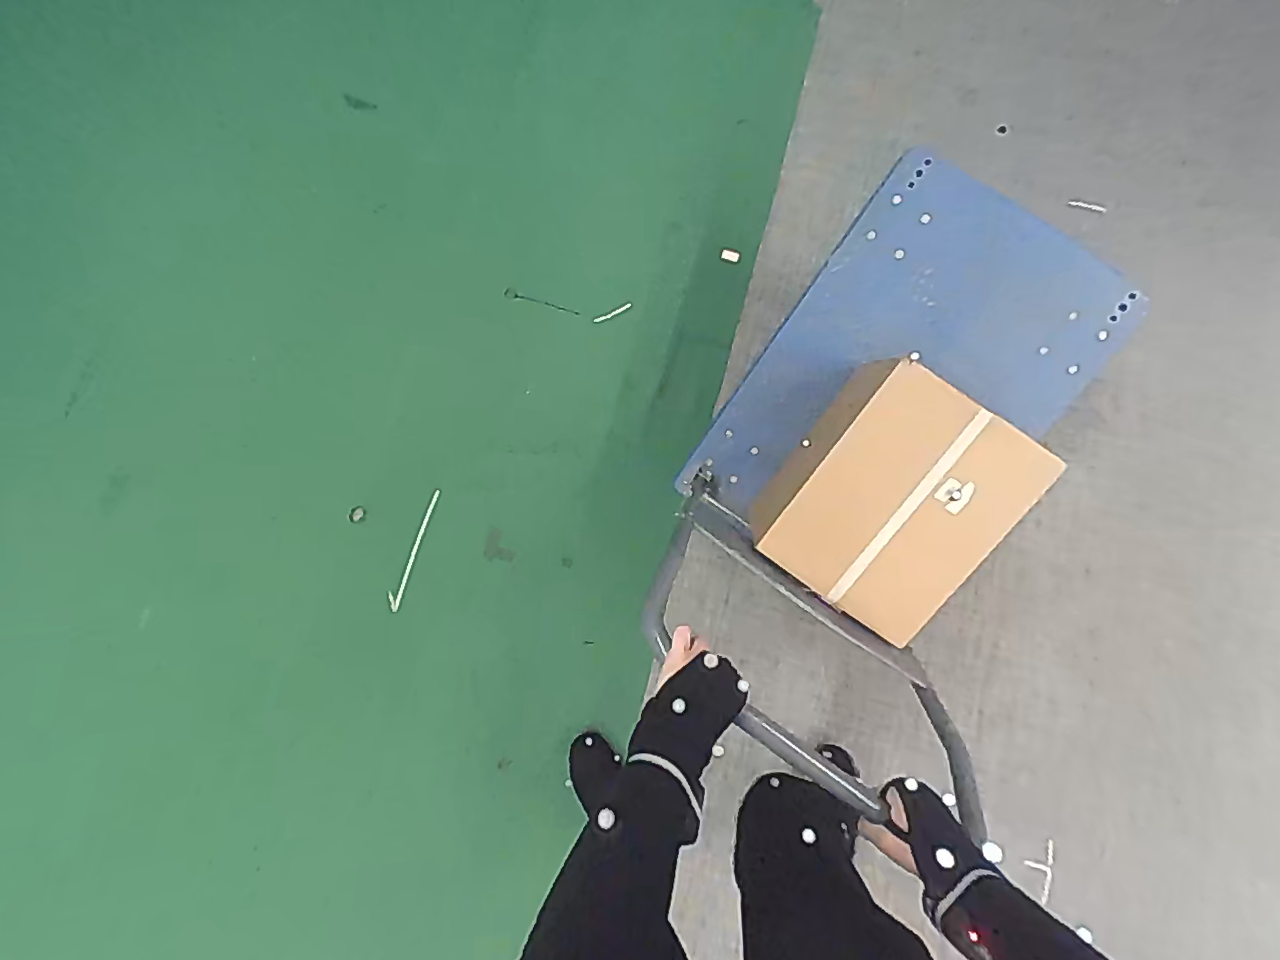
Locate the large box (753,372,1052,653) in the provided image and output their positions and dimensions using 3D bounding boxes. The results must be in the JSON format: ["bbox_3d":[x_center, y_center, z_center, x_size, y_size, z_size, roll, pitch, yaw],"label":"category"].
[{"bbox_3d":[0.466,0.046,1.073,0.320,0.320,0.408,36,102,2],"label":"large box"}]
